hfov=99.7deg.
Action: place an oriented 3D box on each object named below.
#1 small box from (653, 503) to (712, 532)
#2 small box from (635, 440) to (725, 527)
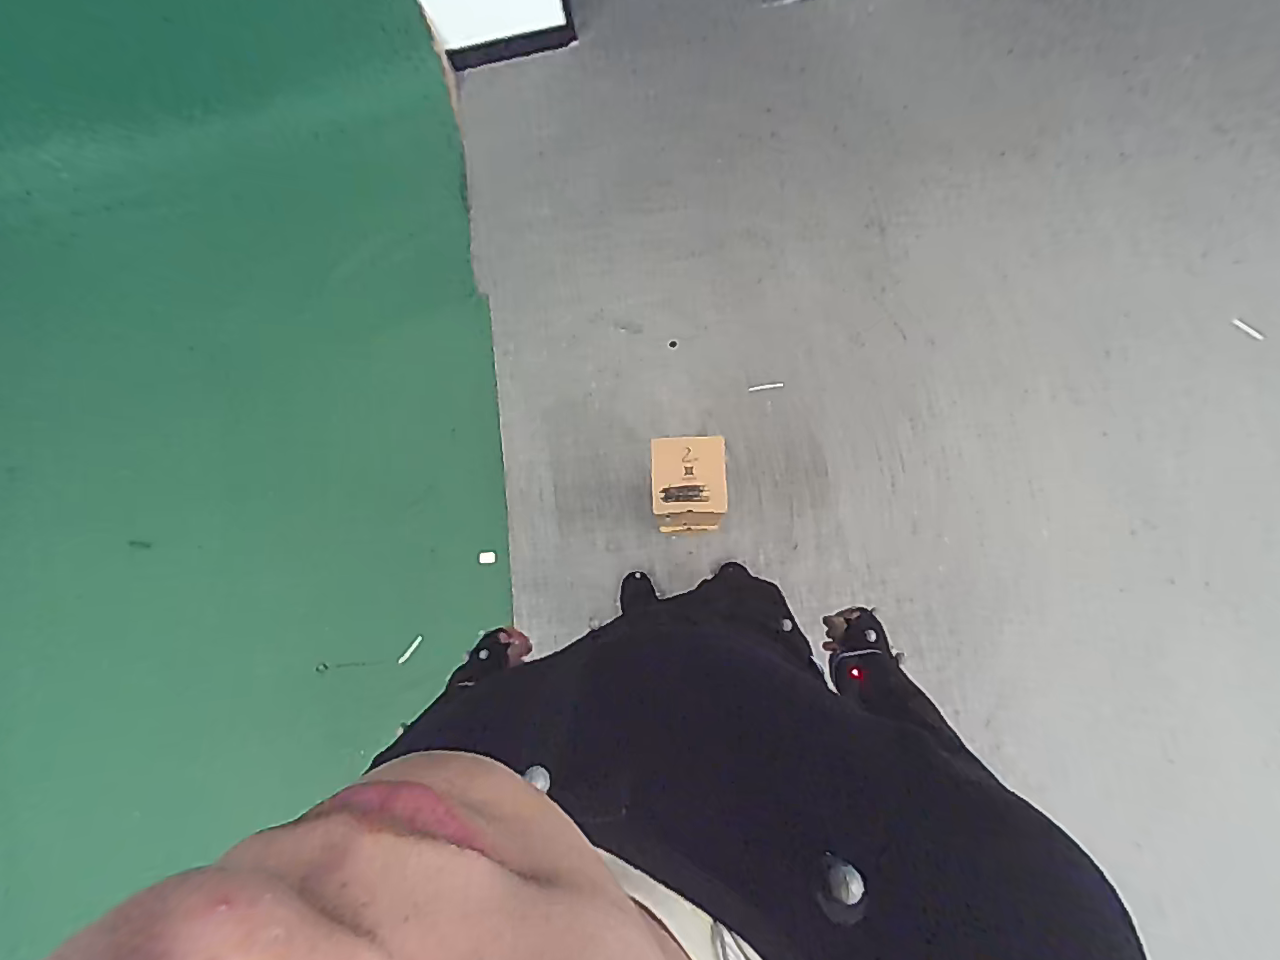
[{"bbox_3d":[0.125,0.061,1.592,0.168,0.176,0.179,-3,80,4],"label":"small box"},{"bbox_3d":[0.108,0.018,1.444,0.179,0.176,0.168,29,86,9],"label":"small box"}]
